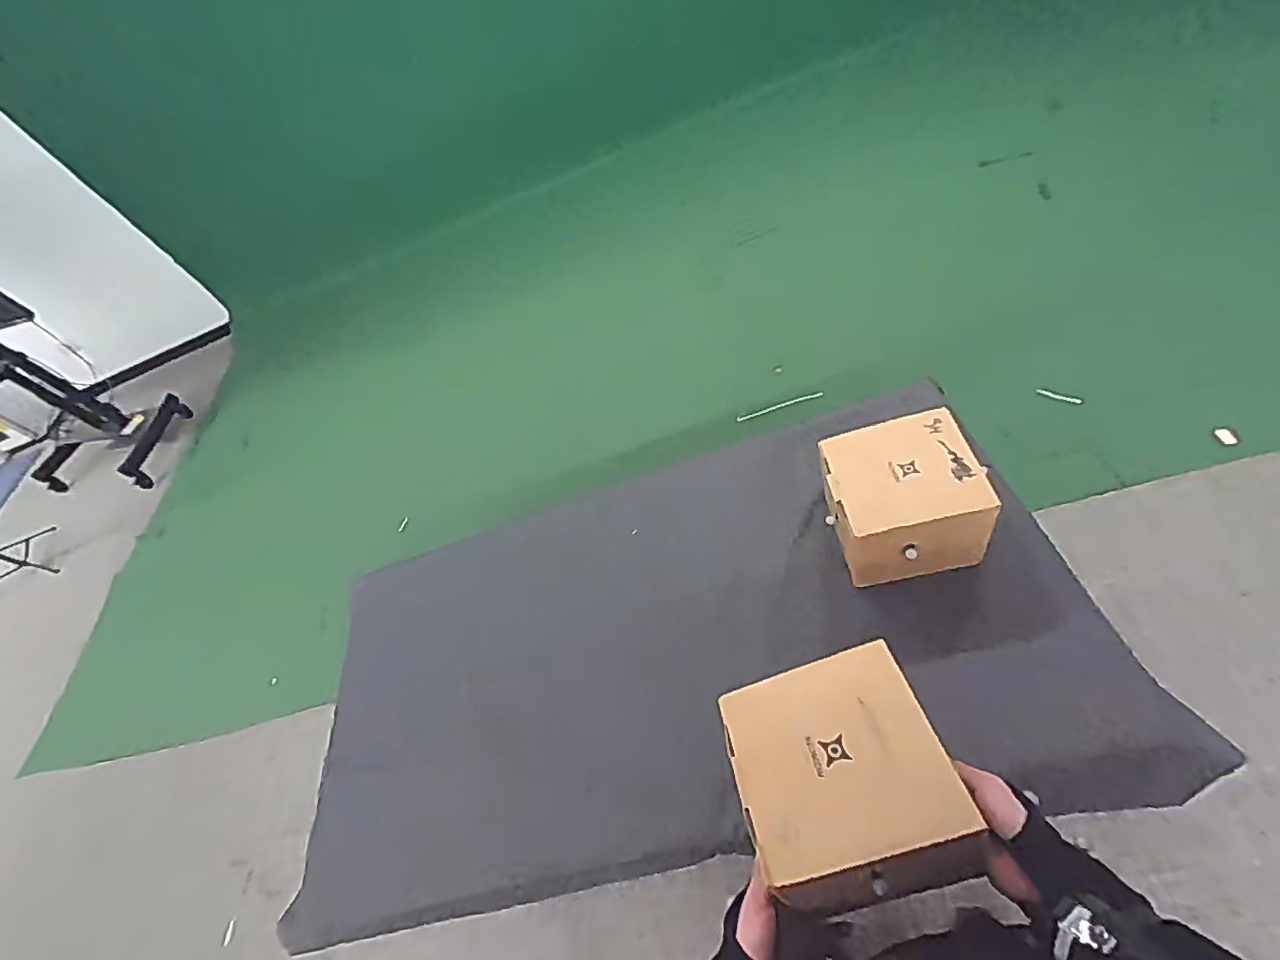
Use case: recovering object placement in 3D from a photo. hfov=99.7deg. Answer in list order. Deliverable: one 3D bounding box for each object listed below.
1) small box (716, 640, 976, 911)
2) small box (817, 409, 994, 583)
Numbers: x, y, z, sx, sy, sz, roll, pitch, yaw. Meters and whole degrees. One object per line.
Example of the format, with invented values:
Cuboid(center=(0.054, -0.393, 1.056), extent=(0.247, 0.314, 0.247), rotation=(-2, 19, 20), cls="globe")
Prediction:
Cuboid(center=(0.197, 0.293, 0.530), extent=(0.179, 0.176, 0.168), rotation=(-23, 41, 8), cls="small box")
Cuboid(center=(0.369, 0.032, 0.776), extent=(0.179, 0.176, 0.168), rotation=(-15, 53, 14), cls="small box")
